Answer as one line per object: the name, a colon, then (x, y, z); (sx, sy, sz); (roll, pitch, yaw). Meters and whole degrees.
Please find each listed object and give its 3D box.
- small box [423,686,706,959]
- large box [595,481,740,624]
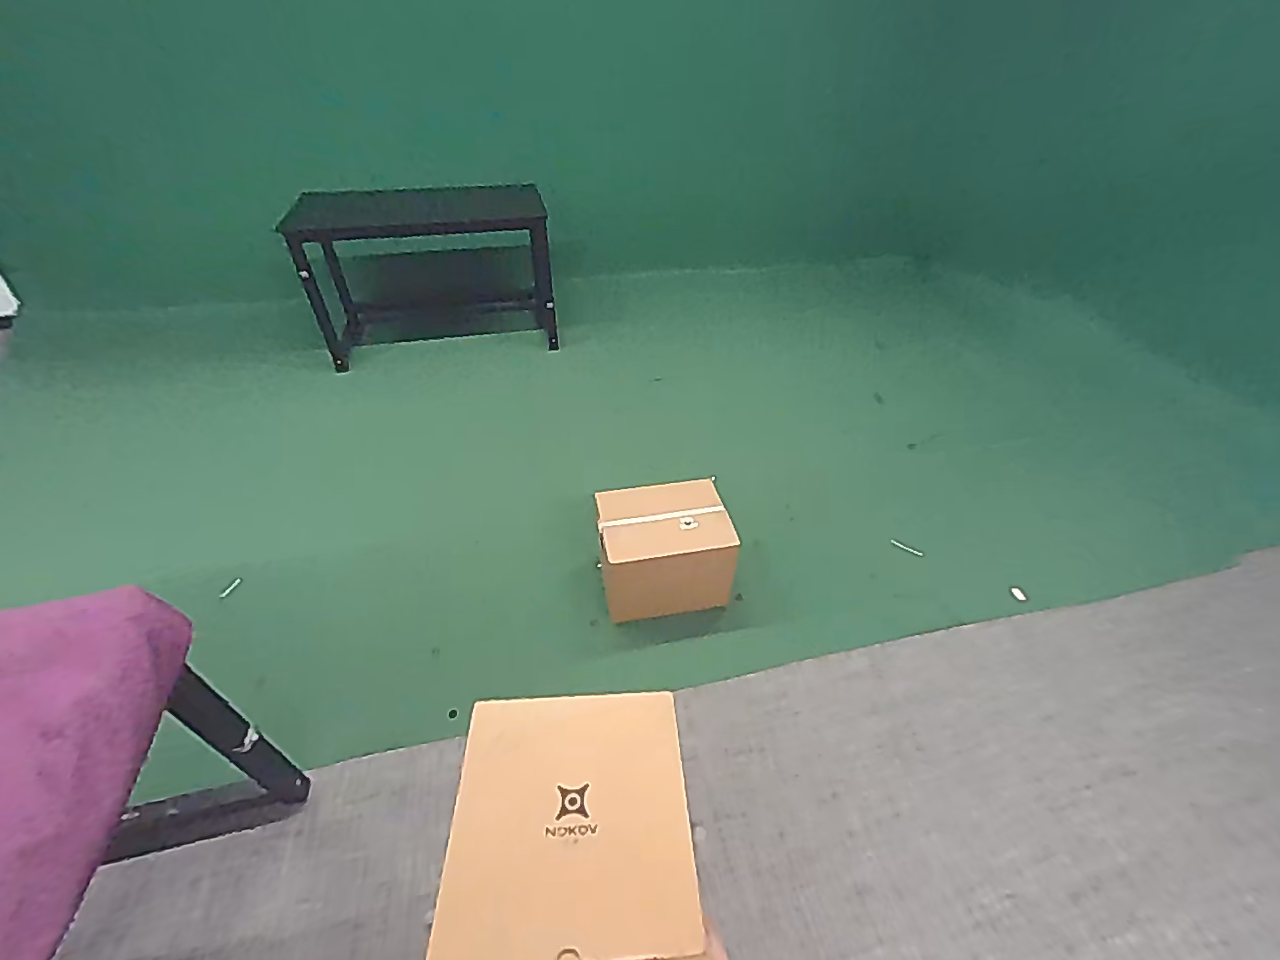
small box: (-0.051, 0.287, 0.422); (0.168, 0.176, 0.179); (-1, 36, -4)
large box: (0.074, 0.237, 1.789); (0.408, 0.320, 0.320); (-7, 42, -9)
